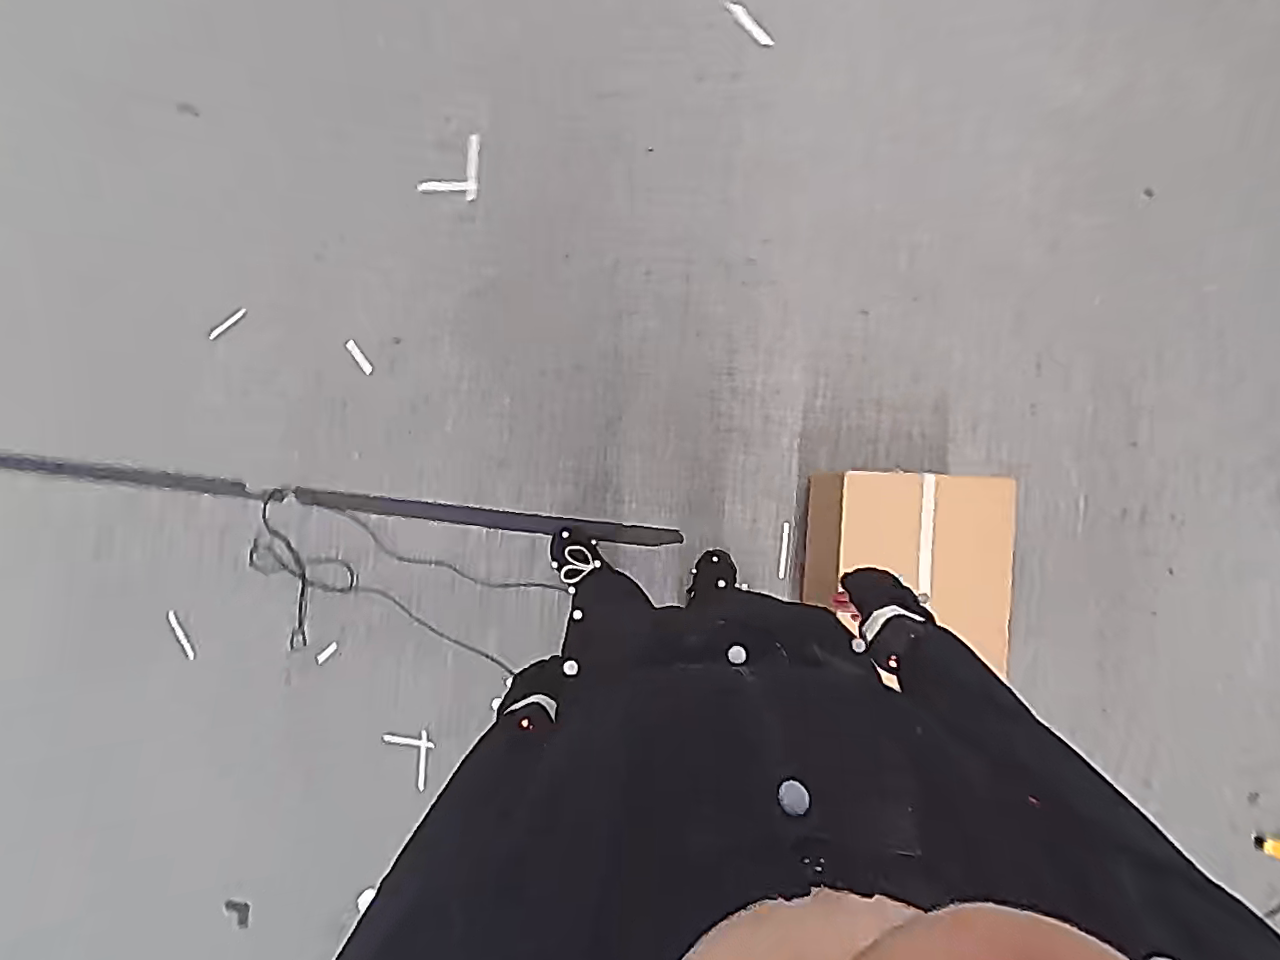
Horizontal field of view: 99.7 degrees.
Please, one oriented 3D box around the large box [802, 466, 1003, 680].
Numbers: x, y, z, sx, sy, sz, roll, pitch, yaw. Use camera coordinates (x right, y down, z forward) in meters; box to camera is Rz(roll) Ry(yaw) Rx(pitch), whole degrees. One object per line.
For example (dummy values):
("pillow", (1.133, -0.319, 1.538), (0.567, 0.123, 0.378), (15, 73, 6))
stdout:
("large box", (0.545, 0.181, 1.188), (0.320, 0.320, 0.408), (3, 90, 5))
